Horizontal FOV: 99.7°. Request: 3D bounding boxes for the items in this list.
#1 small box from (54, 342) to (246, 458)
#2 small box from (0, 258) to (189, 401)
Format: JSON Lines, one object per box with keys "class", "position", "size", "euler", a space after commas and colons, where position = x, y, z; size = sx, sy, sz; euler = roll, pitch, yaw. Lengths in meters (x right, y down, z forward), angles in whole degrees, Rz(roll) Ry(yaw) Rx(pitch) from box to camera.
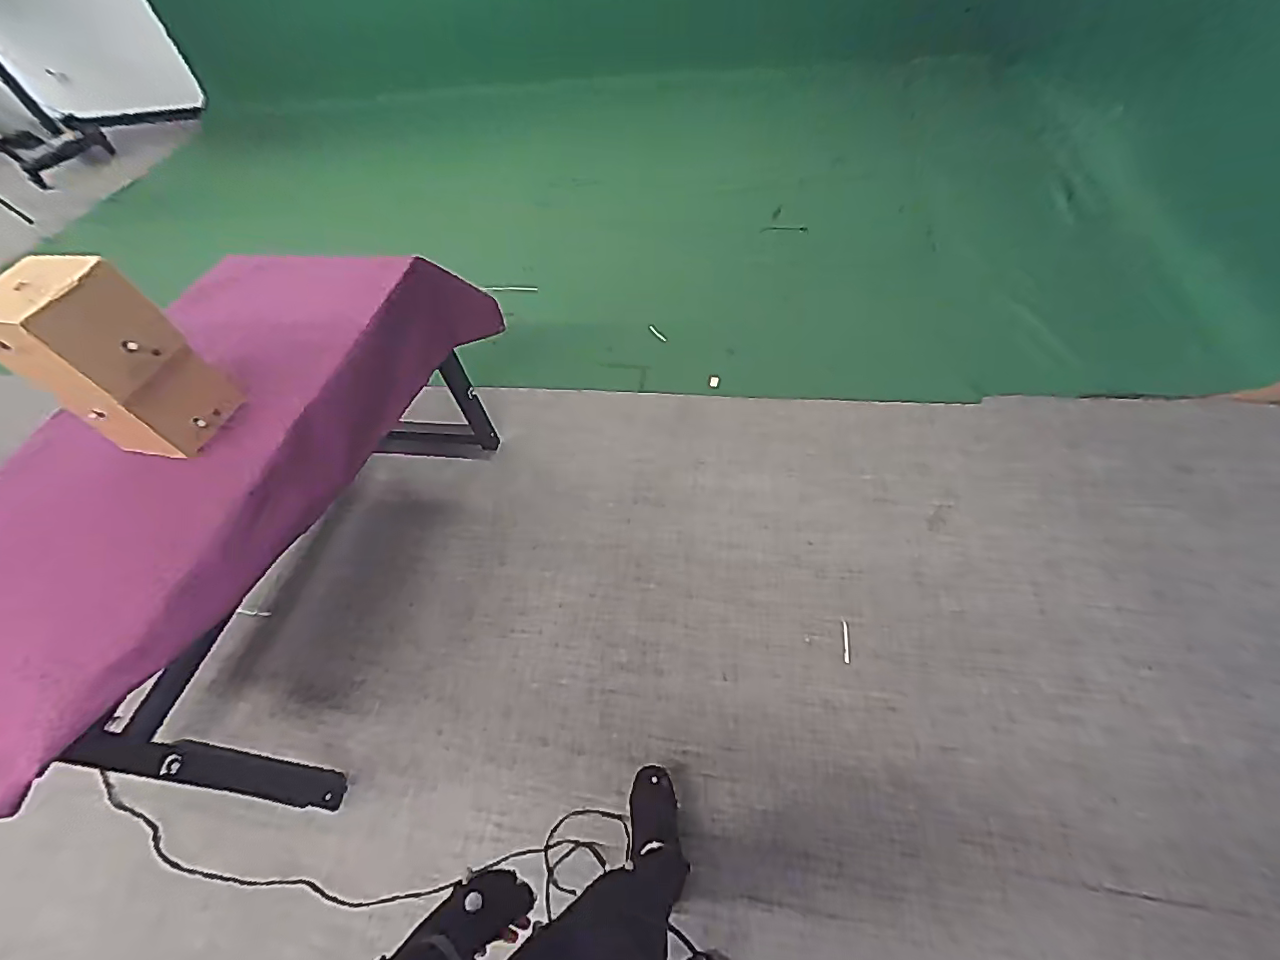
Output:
{"class": "small box", "position": [-0.933, -0.159, 1.049], "size": [0.179, 0.176, 0.168], "euler": [8, 56, 14]}
{"class": "small box", "position": [-0.938, -0.250, 0.911], "size": [0.179, 0.176, 0.168], "euler": [7, 56, 13]}
